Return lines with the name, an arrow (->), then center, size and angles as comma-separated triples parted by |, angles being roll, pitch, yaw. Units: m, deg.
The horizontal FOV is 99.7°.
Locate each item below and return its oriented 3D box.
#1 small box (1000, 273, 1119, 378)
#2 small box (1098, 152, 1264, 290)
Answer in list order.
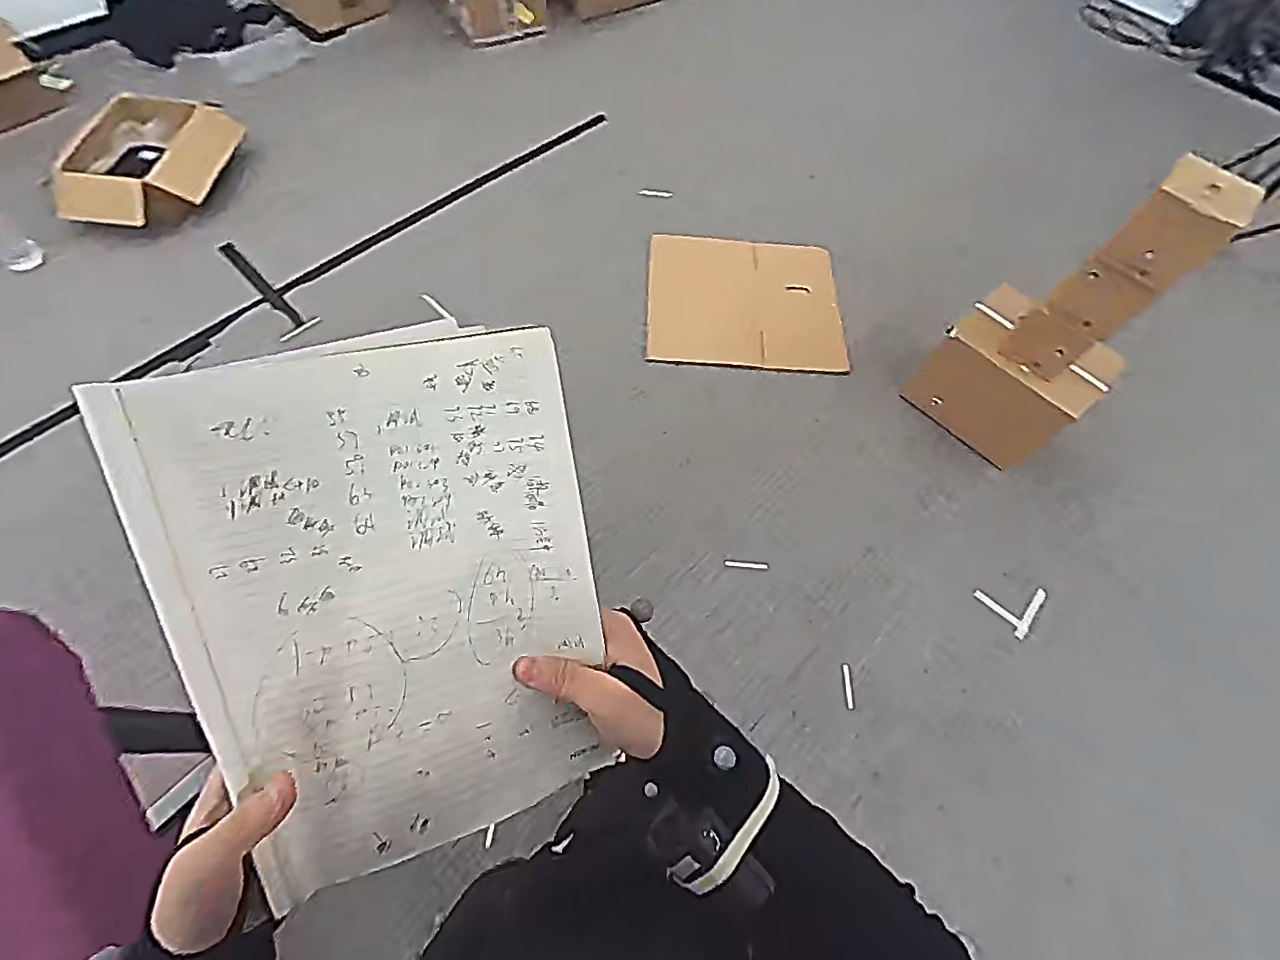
small box -> 1.115, -0.410, 1.453 | 0.168, 0.176, 0.179 | 39, 67, 14
small box -> 1.143, -0.549, 1.156 | 0.168, 0.176, 0.179 | 41, 68, 15
